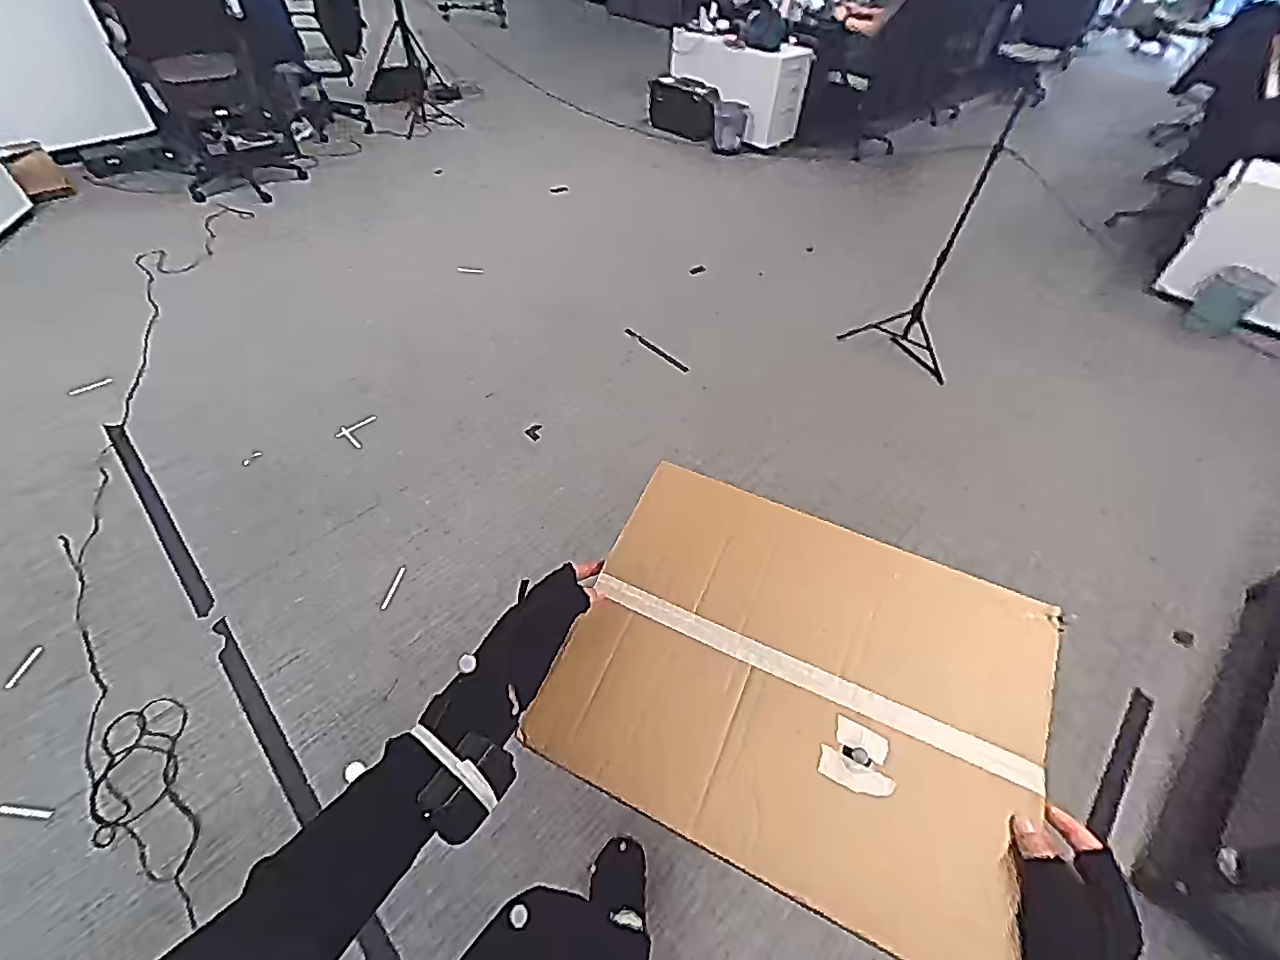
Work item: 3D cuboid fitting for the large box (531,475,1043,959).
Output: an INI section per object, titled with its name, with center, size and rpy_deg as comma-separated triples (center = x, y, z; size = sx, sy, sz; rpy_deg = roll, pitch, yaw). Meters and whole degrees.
[large box]
center = 0.147, 0.255, 0.626
size = 0.408, 0.320, 0.320
rpy_deg = 22, 63, 15
